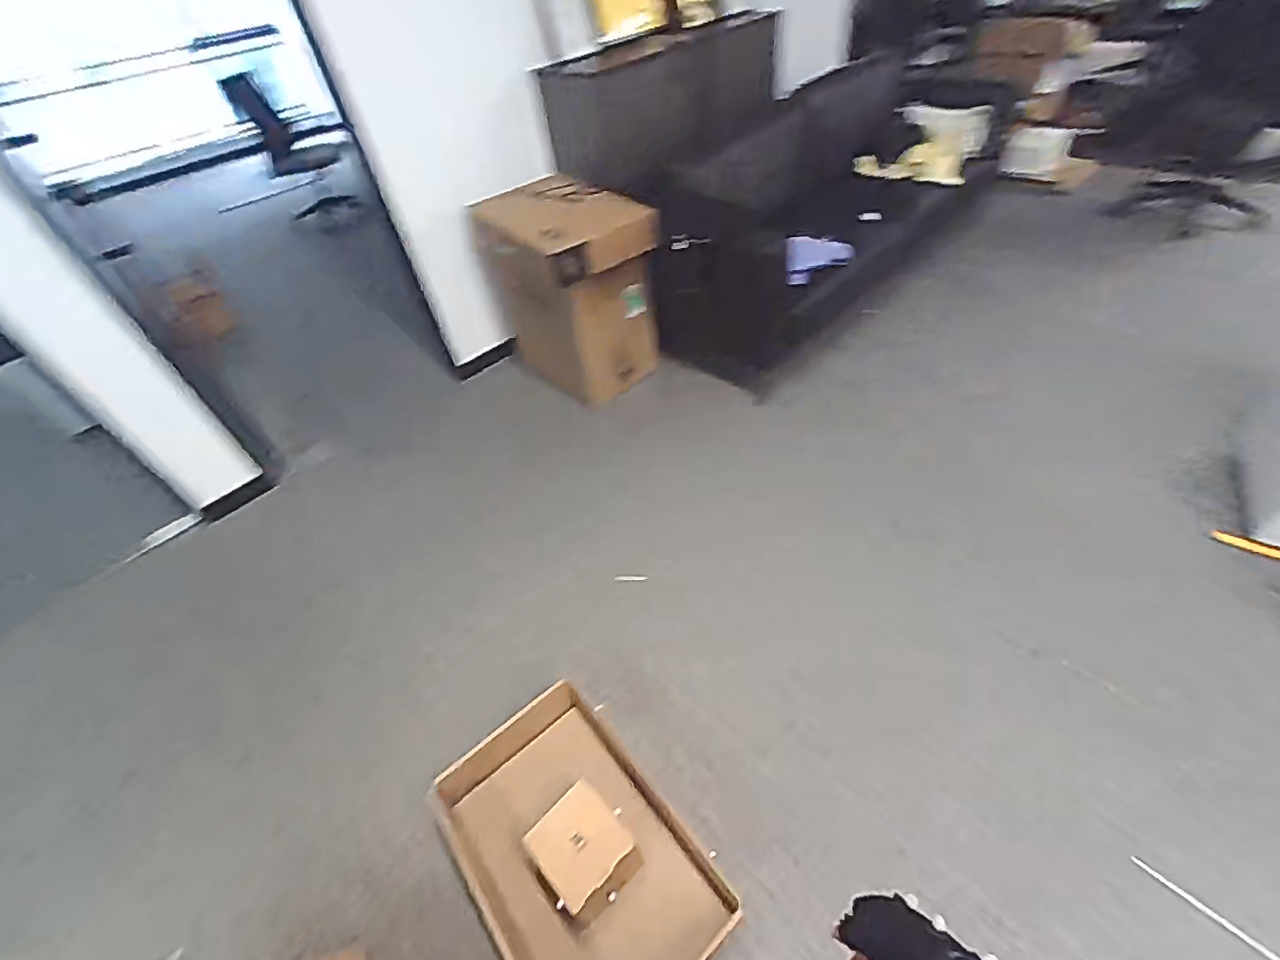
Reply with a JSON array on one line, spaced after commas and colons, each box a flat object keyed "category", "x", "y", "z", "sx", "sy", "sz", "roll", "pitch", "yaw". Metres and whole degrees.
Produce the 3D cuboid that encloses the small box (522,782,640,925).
[{"category": "small box", "x": -0.119, "y": 0.794, "z": 1.146, "sx": 0.168, "sy": 0.176, "sz": 0.179, "roll": -38, "pitch": 51, "yaw": -26}]
